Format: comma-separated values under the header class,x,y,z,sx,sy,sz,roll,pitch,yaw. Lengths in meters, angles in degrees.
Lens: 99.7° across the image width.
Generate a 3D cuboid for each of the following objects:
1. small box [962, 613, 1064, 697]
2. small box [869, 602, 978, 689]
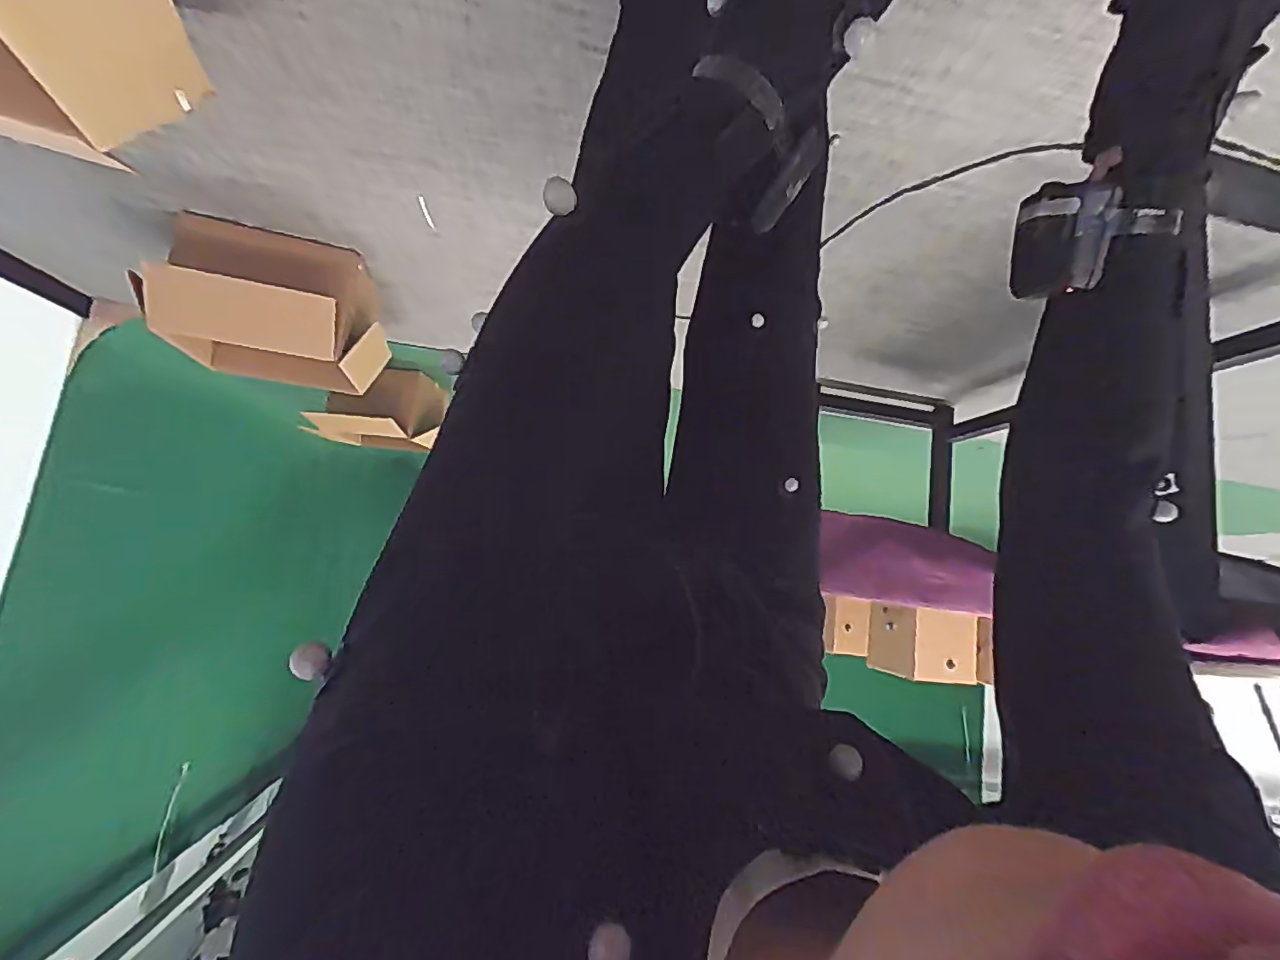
class,x,y,z,sx,sy,sz,roll,pitch,yaw
small box,0.912,0.430,1.352,0.179,0.176,0.168,8,170,-8
small box,0.688,0.398,1.314,0.179,0.176,0.168,9,170,-13
